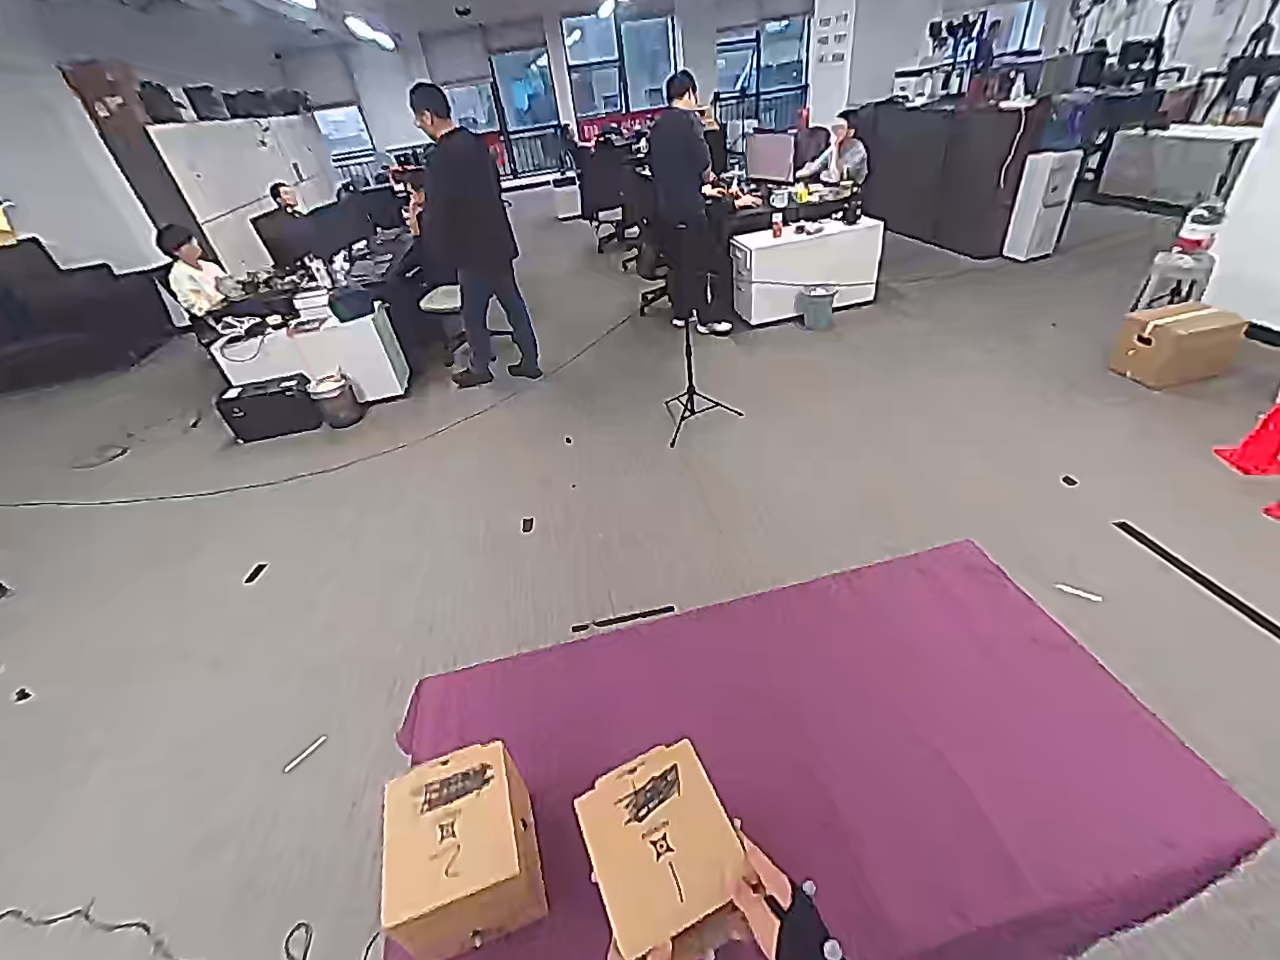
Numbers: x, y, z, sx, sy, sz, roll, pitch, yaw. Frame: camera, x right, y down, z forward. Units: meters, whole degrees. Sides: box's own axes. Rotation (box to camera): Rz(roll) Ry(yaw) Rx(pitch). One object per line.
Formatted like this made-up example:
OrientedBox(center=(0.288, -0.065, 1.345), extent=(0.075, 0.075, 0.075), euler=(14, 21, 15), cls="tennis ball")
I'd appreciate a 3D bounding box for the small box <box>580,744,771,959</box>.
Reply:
OrientedBox(center=(0.045, 0.476, 0.670), extent=(0.168, 0.176, 0.179), euler=(-25, 42, -9), cls="small box")
